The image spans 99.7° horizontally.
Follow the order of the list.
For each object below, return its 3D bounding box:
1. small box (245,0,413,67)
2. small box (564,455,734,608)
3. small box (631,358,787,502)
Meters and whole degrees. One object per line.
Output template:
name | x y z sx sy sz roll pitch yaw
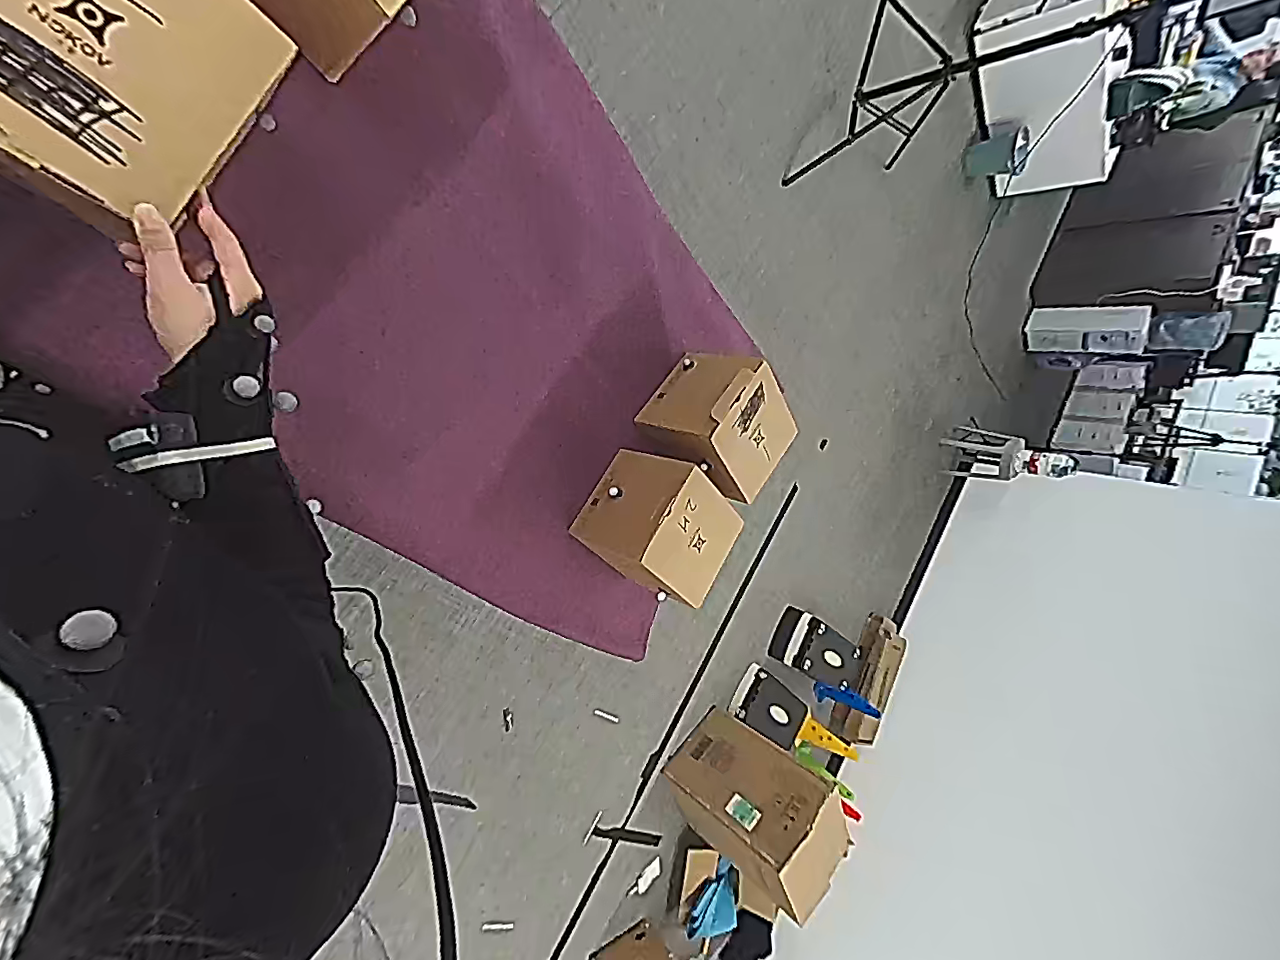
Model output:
small box | -0.267 -0.487 0.445 0.179 0.176 0.168 39 74 -43
small box | 0.015 0.075 0.873 0.179 0.176 0.168 46 68 -40
small box | 0.116 -0.091 0.921 0.168 0.176 0.179 -53 132 -17
